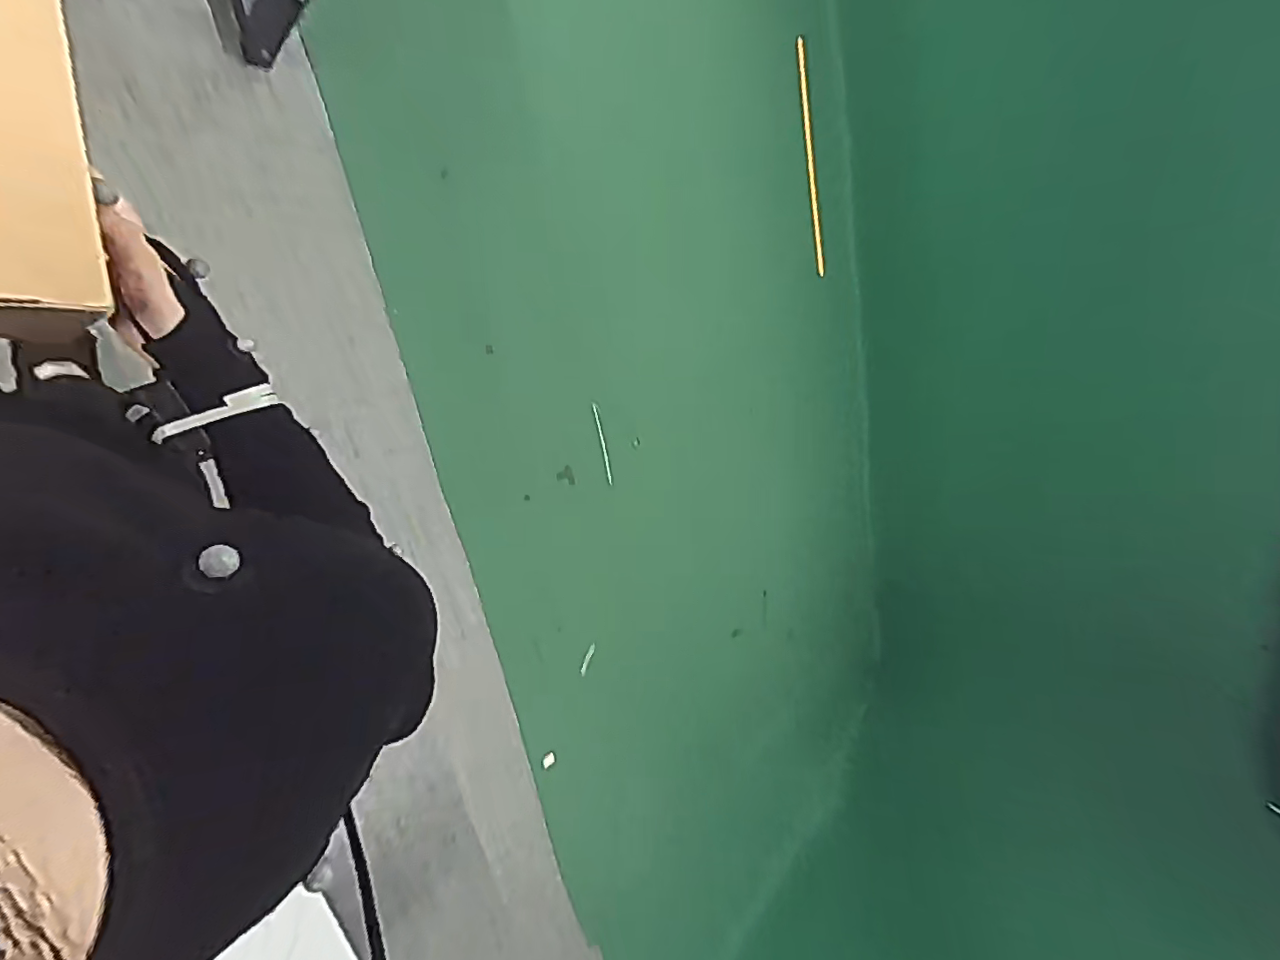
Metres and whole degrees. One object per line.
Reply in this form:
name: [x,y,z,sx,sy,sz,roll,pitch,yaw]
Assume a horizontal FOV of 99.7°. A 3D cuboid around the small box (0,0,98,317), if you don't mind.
small box: [-0.425,-0.190,0.278,0.168,0.176,0.179,-14,105,-53]
